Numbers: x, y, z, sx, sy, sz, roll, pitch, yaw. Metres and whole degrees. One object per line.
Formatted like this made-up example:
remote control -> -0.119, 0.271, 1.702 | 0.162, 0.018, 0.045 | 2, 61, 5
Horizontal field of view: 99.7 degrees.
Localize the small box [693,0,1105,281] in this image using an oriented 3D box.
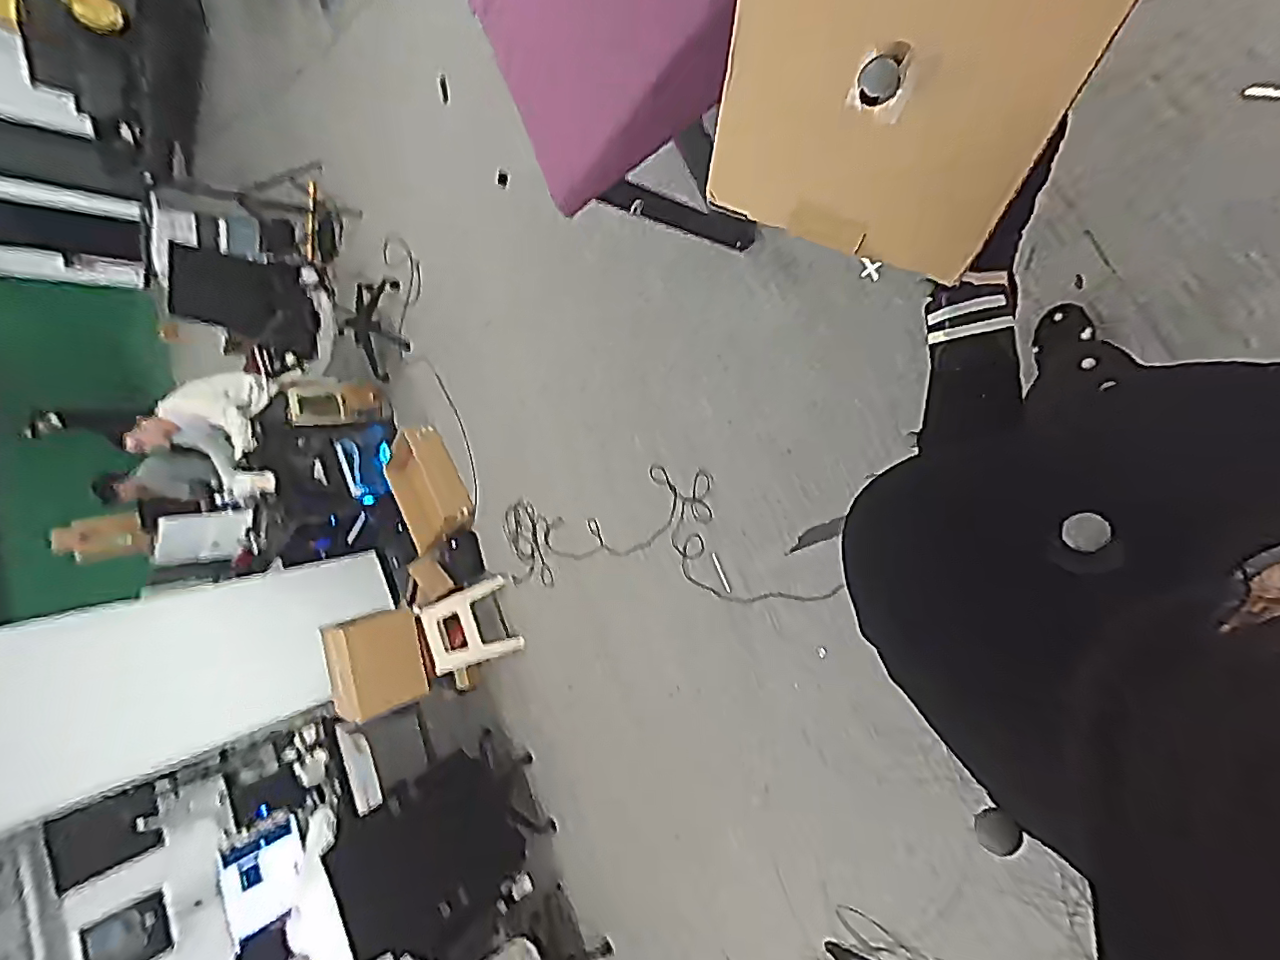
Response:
small box -> 0.146, -0.250, 0.303 | 0.168, 0.179, 0.176 | 27, 147, 15
